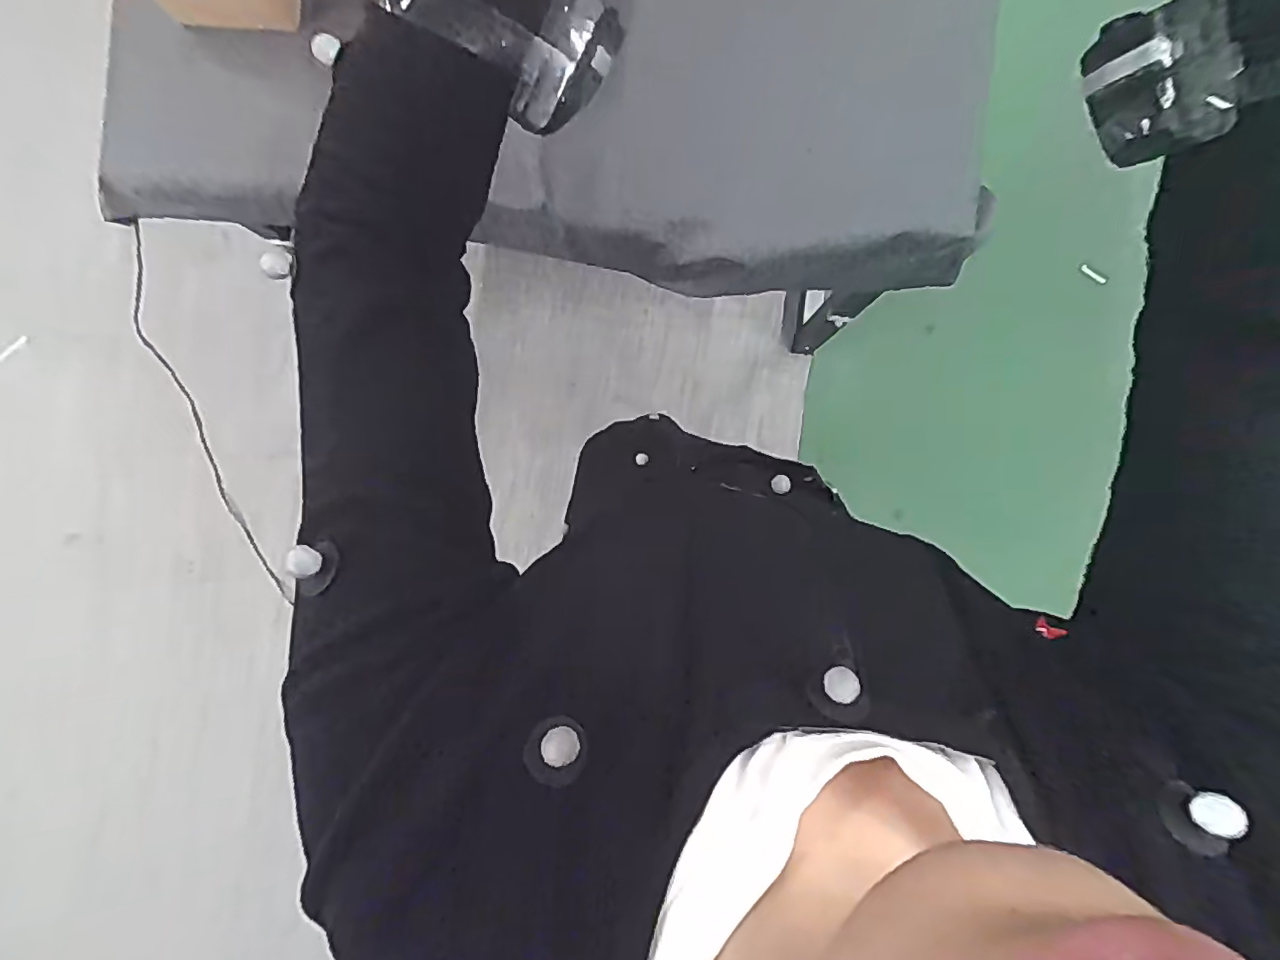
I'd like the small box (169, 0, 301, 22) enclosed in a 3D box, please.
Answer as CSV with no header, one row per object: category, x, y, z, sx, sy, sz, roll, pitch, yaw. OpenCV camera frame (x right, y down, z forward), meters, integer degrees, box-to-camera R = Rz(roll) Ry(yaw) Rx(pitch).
small box,-0.549,-0.715,0.666,0.179,0.176,0.168,5,91,1

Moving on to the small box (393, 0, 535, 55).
small box,-0.221,-0.667,0.658,0.168,0.176,0.179,8,91,2
